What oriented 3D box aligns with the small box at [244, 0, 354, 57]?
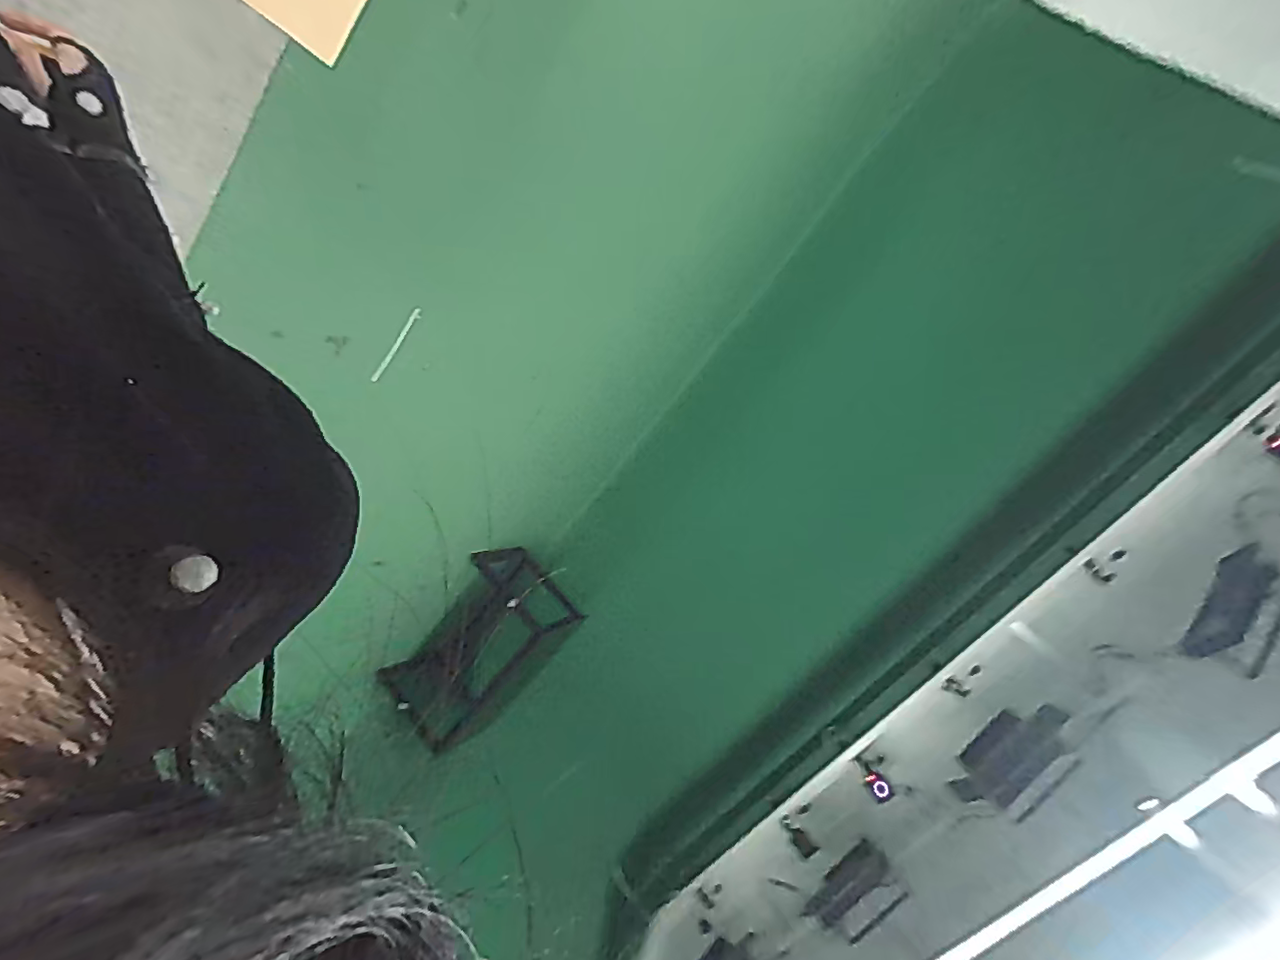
[{"bbox_3d":[-0.509,-0.753,0.740,0.179,0.176,0.168,-49,164,15],"label":"small box"}]
